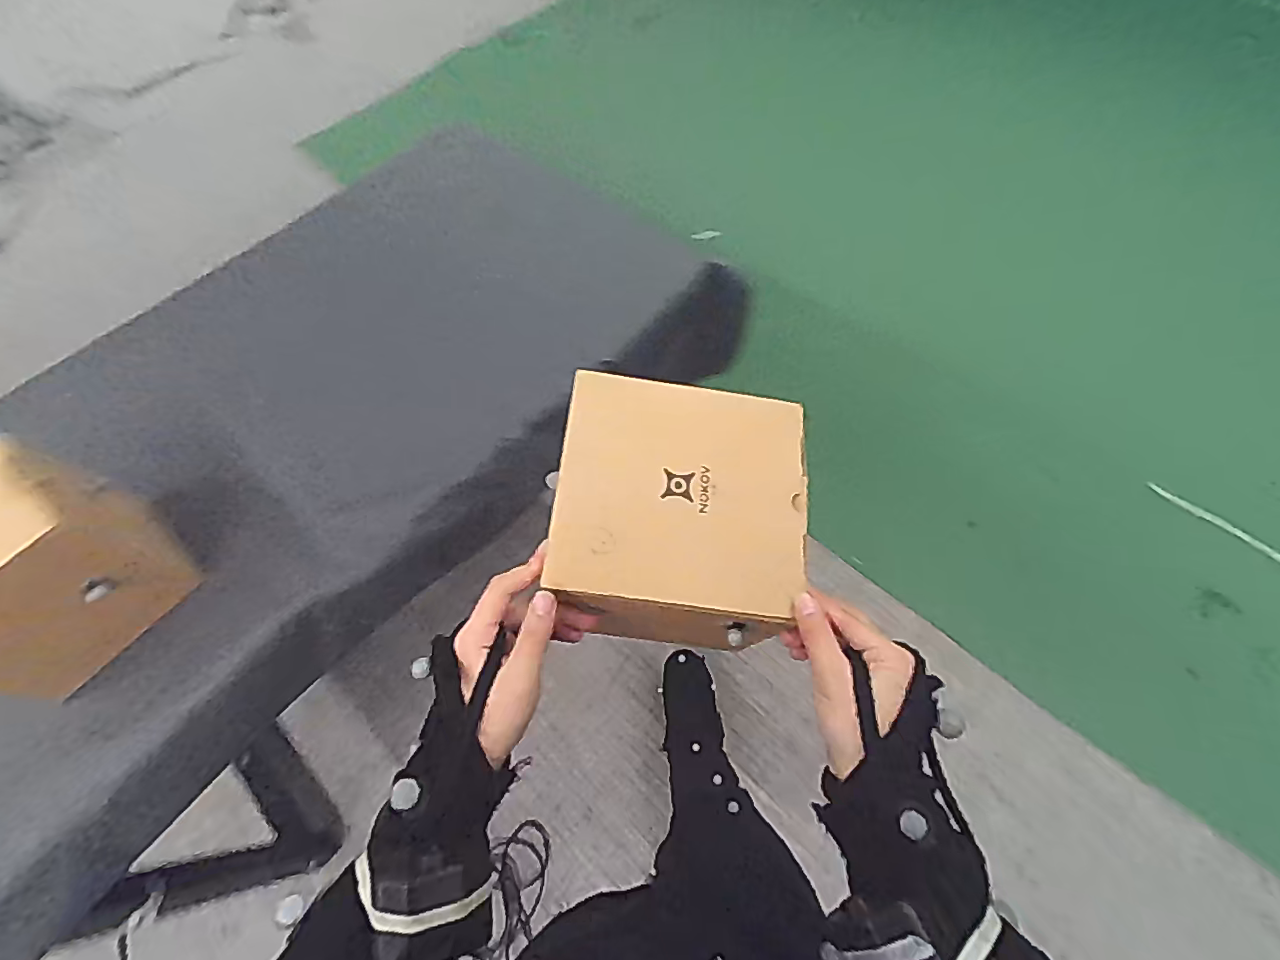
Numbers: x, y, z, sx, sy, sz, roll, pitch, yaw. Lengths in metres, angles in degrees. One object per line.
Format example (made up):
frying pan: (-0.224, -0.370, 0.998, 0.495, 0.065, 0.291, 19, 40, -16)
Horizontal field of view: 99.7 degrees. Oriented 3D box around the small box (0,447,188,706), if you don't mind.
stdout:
small box: (-0.626, 0.105, 0.558, 0.168, 0.176, 0.179, 33, 71, 22)
